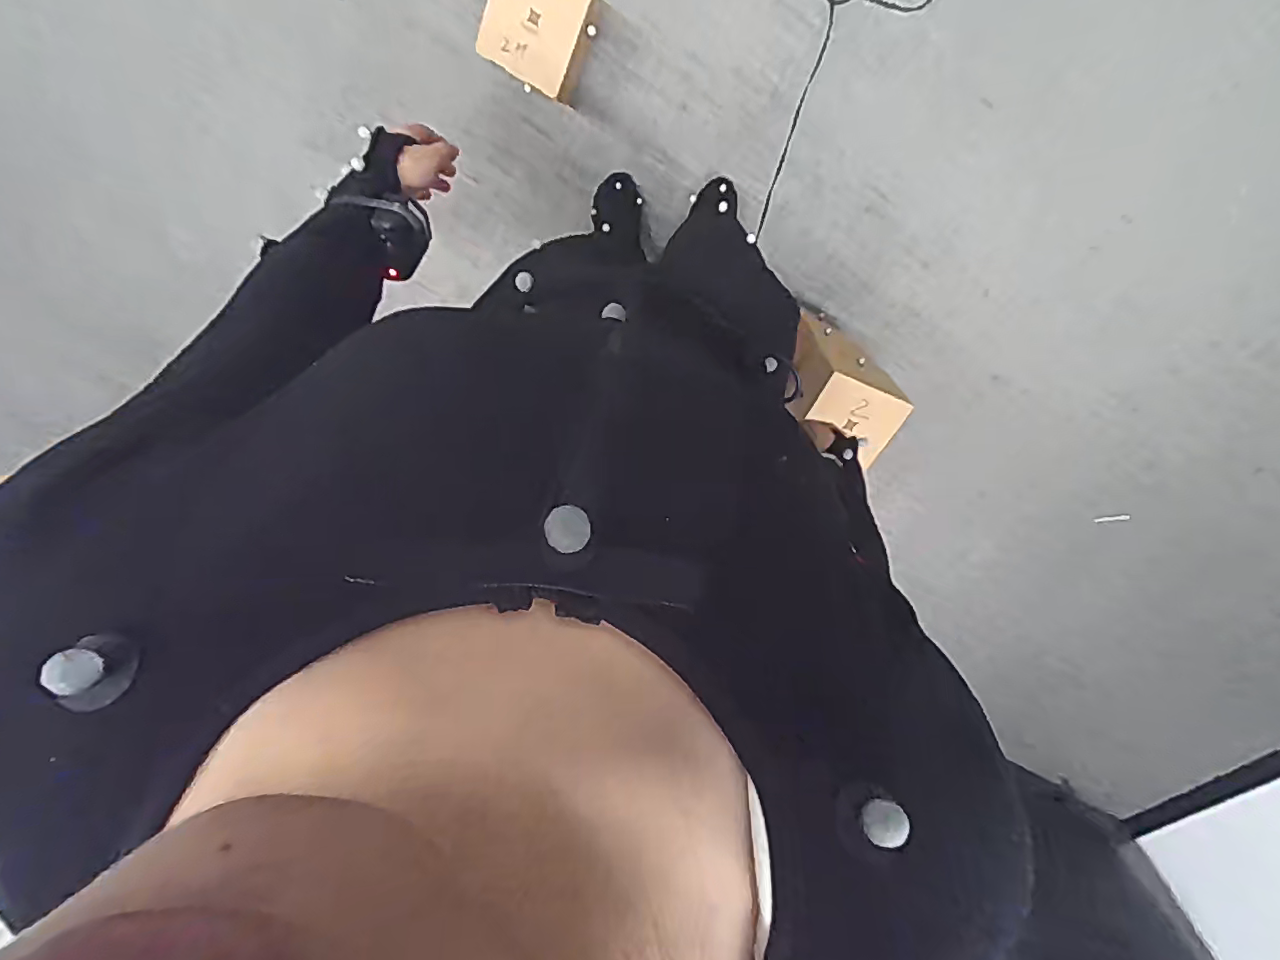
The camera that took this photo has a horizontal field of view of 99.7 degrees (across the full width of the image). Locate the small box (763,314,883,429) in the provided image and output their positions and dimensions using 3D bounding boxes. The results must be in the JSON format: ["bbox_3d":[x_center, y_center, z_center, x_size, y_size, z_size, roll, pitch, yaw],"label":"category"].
[{"bbox_3d":[0.393,-0.247,1.198,0.179,0.176,0.168,22,123,-12],"label":"small box"}]

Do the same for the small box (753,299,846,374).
[{"bbox_3d":[0.399,-0.328,1.340,0.179,0.176,0.168,26,122,-12],"label":"small box"}]

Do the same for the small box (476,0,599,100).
[{"bbox_3d":[-0.187,-0.863,1.031,0.168,0.176,0.179,25,121,-11],"label":"small box"}]
